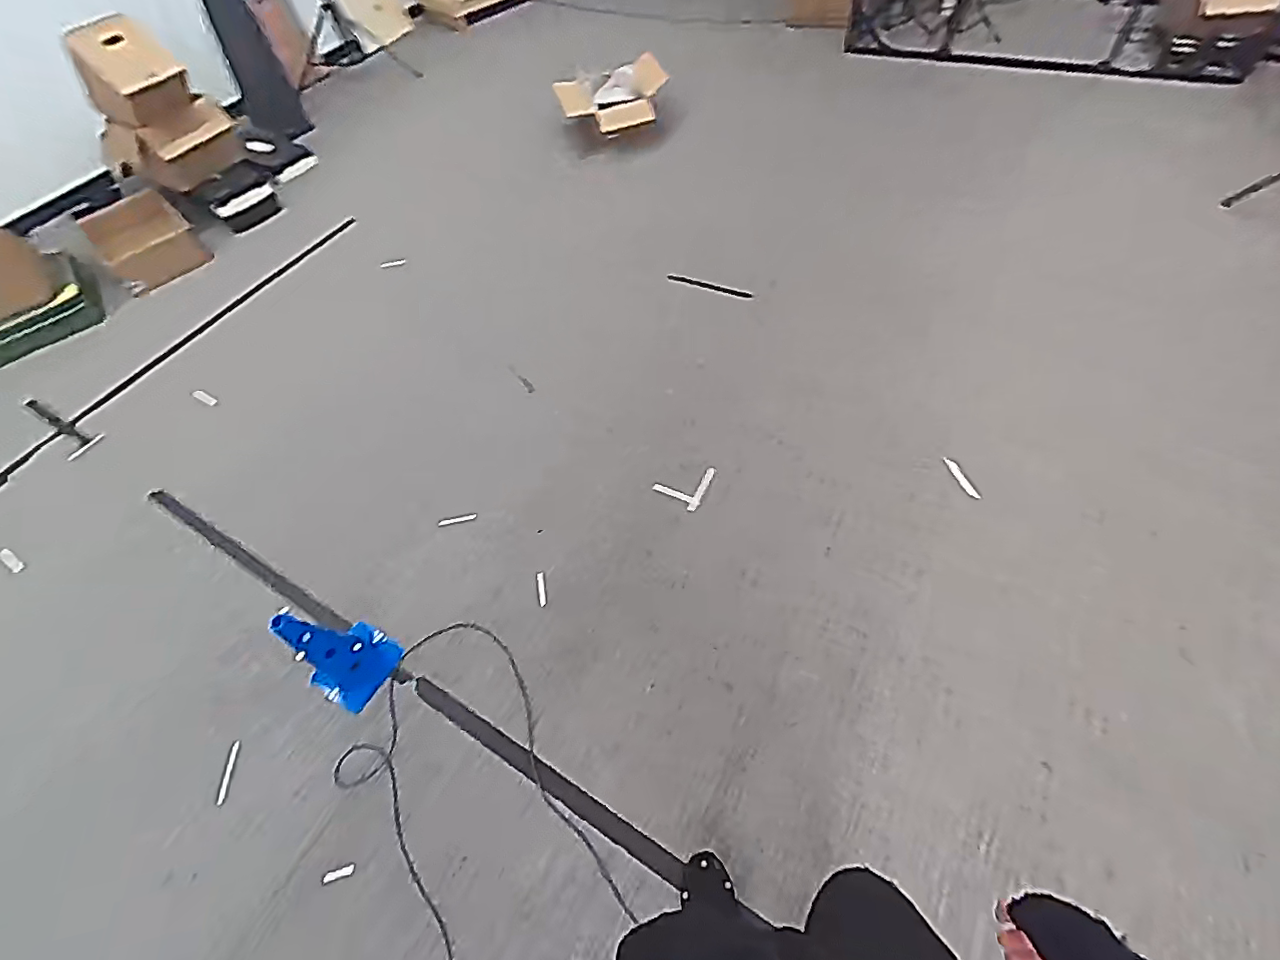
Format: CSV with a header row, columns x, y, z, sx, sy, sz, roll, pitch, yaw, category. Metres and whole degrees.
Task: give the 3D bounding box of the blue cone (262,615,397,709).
x,y,z,sx,sy,sz,roll,pitch,yaw,category
-0.797,0.421,1.352,0.192,0.380,0.193,23,62,20,blue cone
